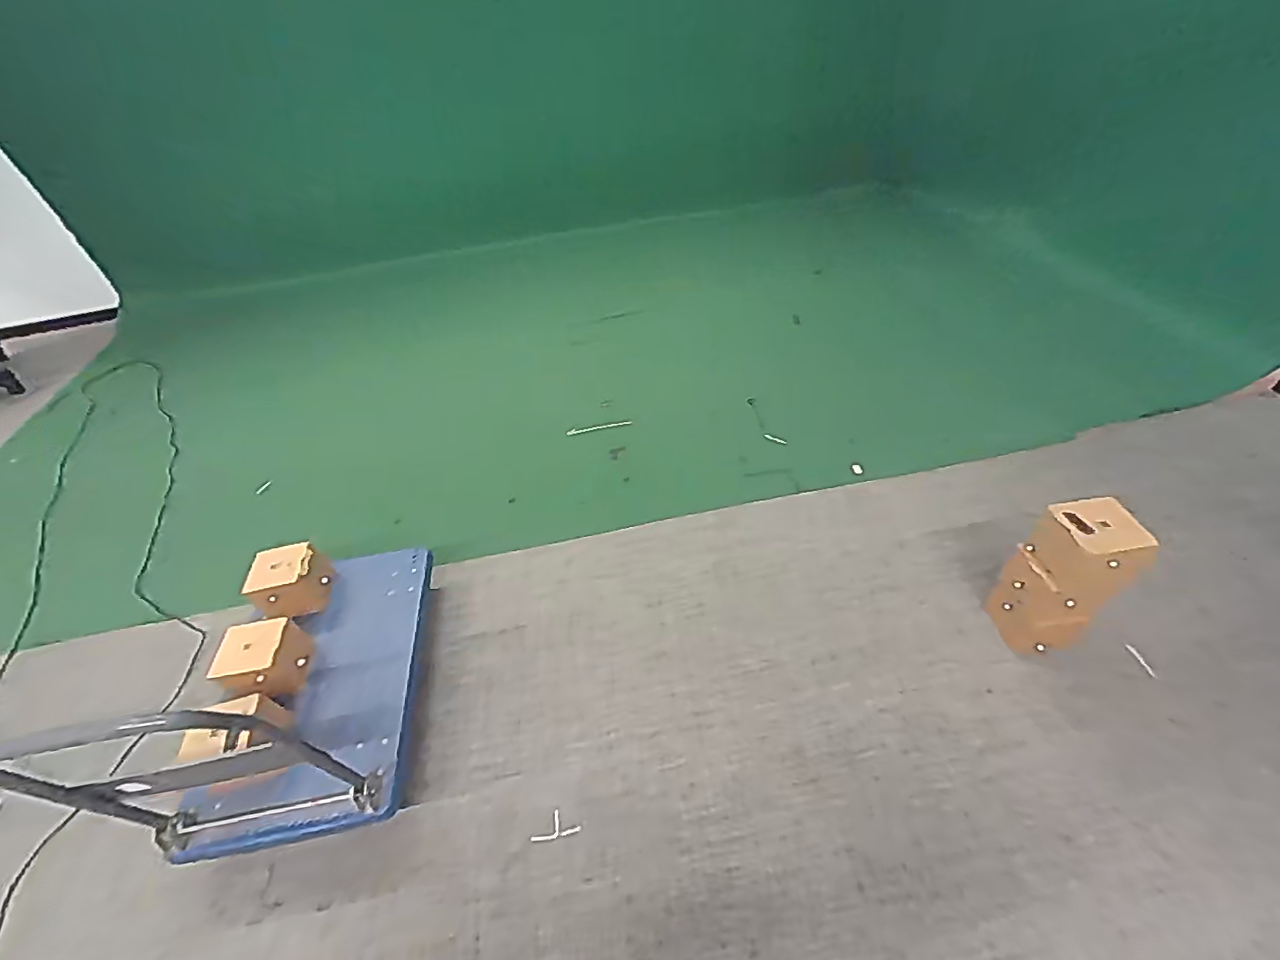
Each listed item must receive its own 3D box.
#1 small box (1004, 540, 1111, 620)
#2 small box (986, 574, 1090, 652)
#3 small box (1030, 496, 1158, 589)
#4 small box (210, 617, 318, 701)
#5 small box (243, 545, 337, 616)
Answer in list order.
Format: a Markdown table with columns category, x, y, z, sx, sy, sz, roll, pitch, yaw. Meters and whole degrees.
| category | x | y | z | sx | sy | sz | roll | pitch | yaw |
| --- | --- | --- | --- | --- | --- | --- | --- | --- | --- |
| small box | 1.170 | 0.277 | 1.528 | 0.179 | 0.176 | 0.168 | -9 | 45 | 2 |
| small box | 1.193 | 0.395 | 1.639 | 0.168 | 0.176 | 0.179 | -8 | 45 | 2 |
| small box | 1.160 | 0.167 | 1.406 | 0.179 | 0.176 | 0.168 | -8 | 44 | 1 |
| small box | -1.101 | 0.532 | 1.598 | 0.179 | 0.176 | 0.168 | -10 | 45 | -3 |
| small box | -1.148 | 0.337 | 1.788 | 0.179 | 0.176 | 0.168 | -6 | 48 | 1 |
